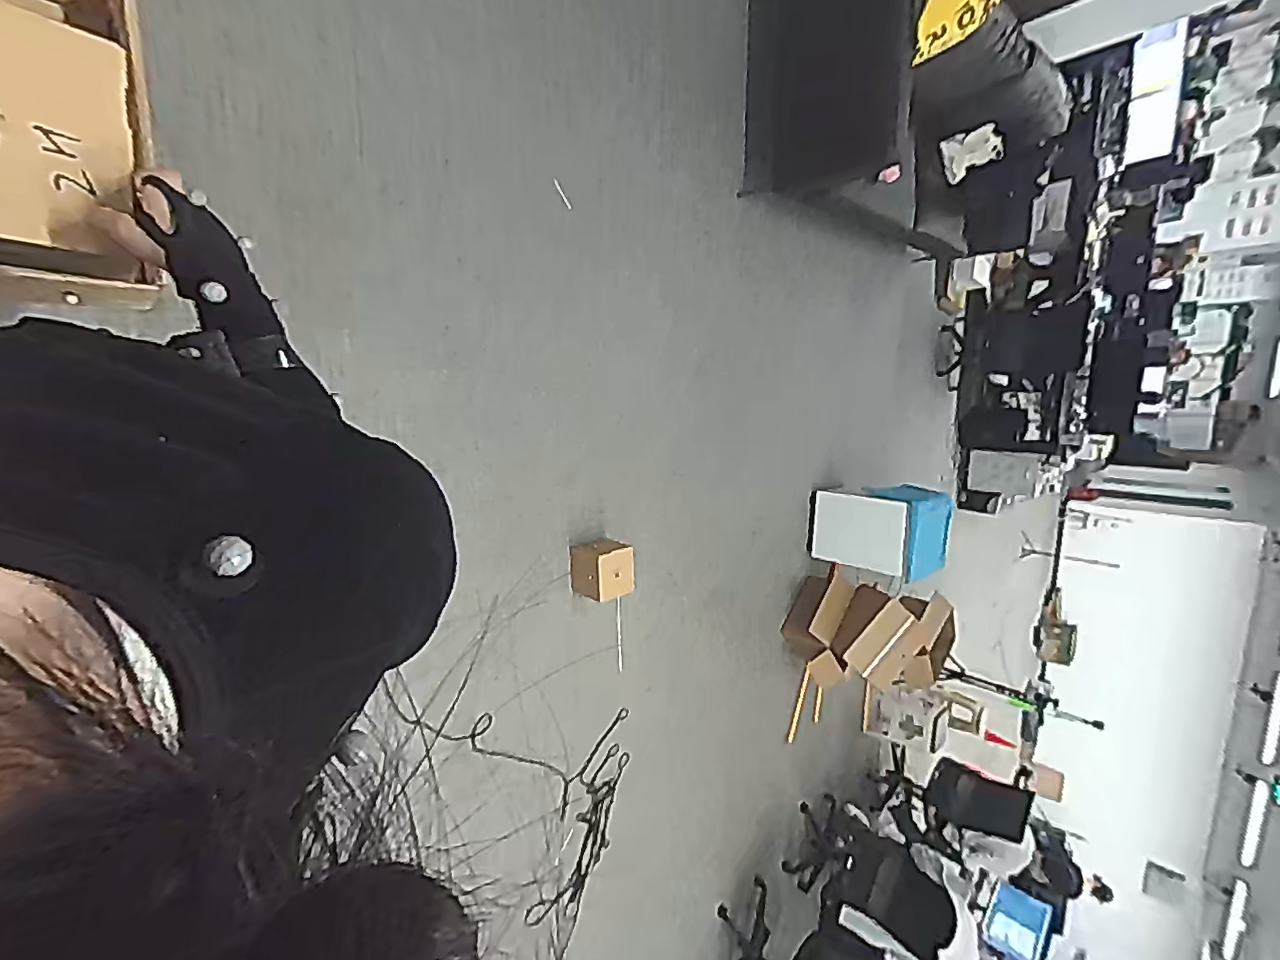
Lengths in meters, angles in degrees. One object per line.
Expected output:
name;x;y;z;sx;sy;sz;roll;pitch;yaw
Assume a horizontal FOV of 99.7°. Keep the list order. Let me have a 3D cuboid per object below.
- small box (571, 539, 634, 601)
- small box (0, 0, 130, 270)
small box;-0.139;0.323;1.982;0.168;0.176;0.179;-10;104;-43
small box;-0.530;-0.274;0.429;0.179;0.176;0.168;-4;102;-45
